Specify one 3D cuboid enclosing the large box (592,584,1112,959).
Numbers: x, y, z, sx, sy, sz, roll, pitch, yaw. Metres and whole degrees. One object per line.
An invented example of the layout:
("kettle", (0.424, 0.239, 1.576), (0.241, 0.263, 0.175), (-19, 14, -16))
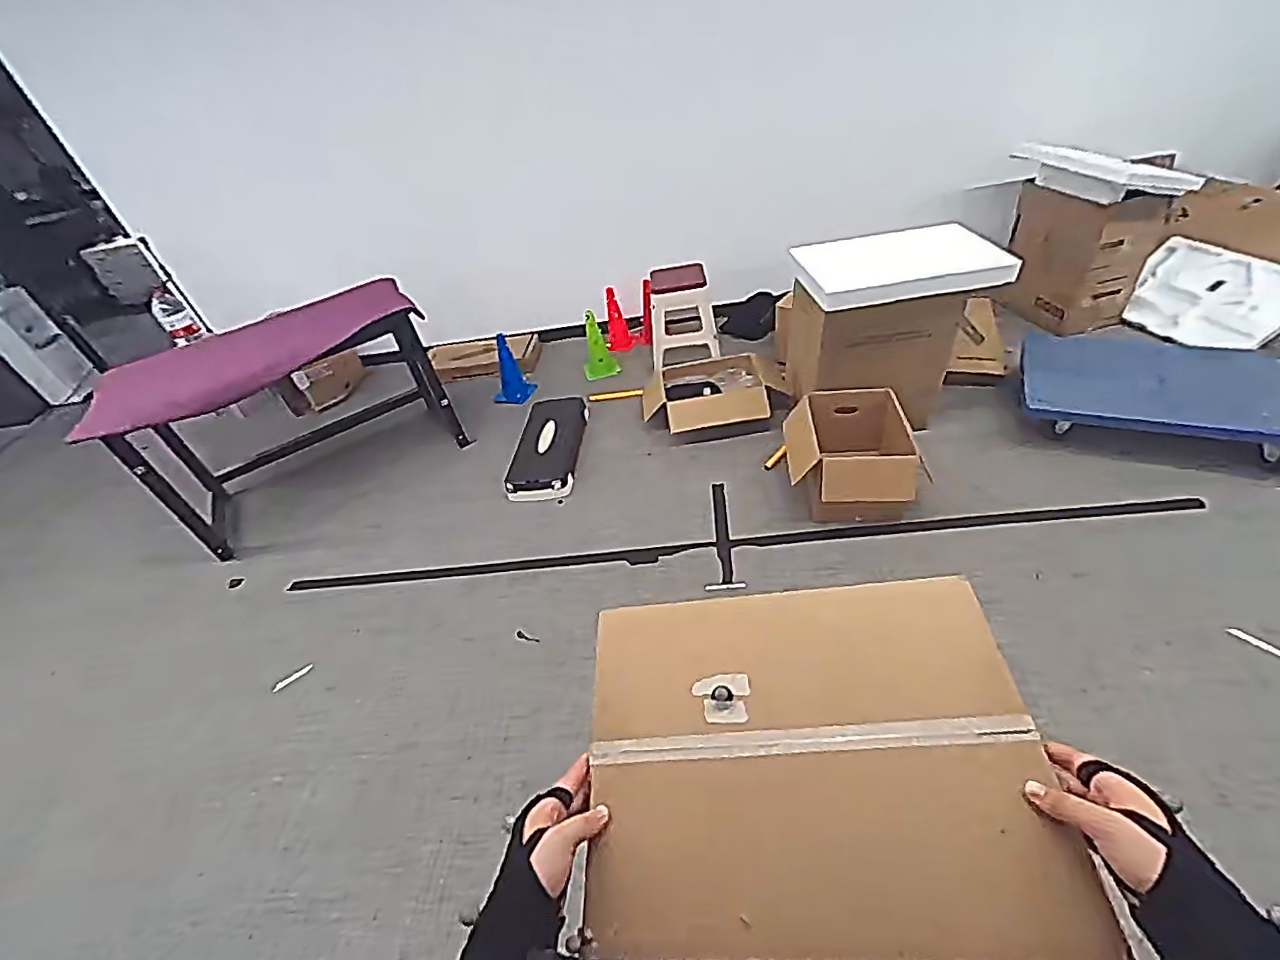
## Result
("large box", (0.185, 0.353, 0.628), (0.408, 0.320, 0.320), (-9, 47, 9))
